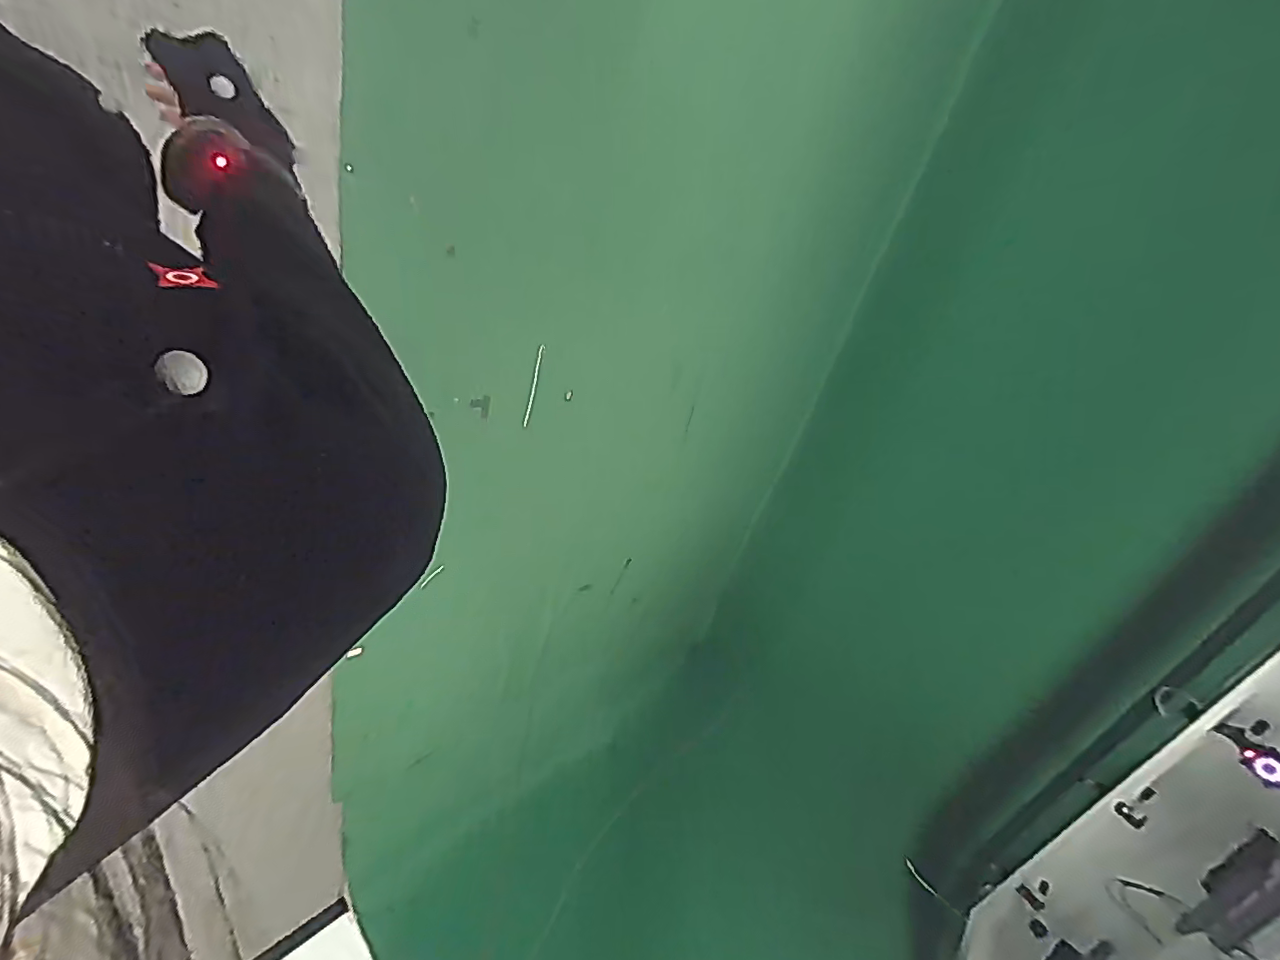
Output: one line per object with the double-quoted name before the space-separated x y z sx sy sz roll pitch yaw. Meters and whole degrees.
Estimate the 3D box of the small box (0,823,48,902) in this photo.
"small box" -1.698 1.054 1.407 0.179 0.176 0.168 -18 134 -47

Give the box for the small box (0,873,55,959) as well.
"small box" -1.584 1.126 1.320 0.179 0.176 0.168 -18 133 -45
